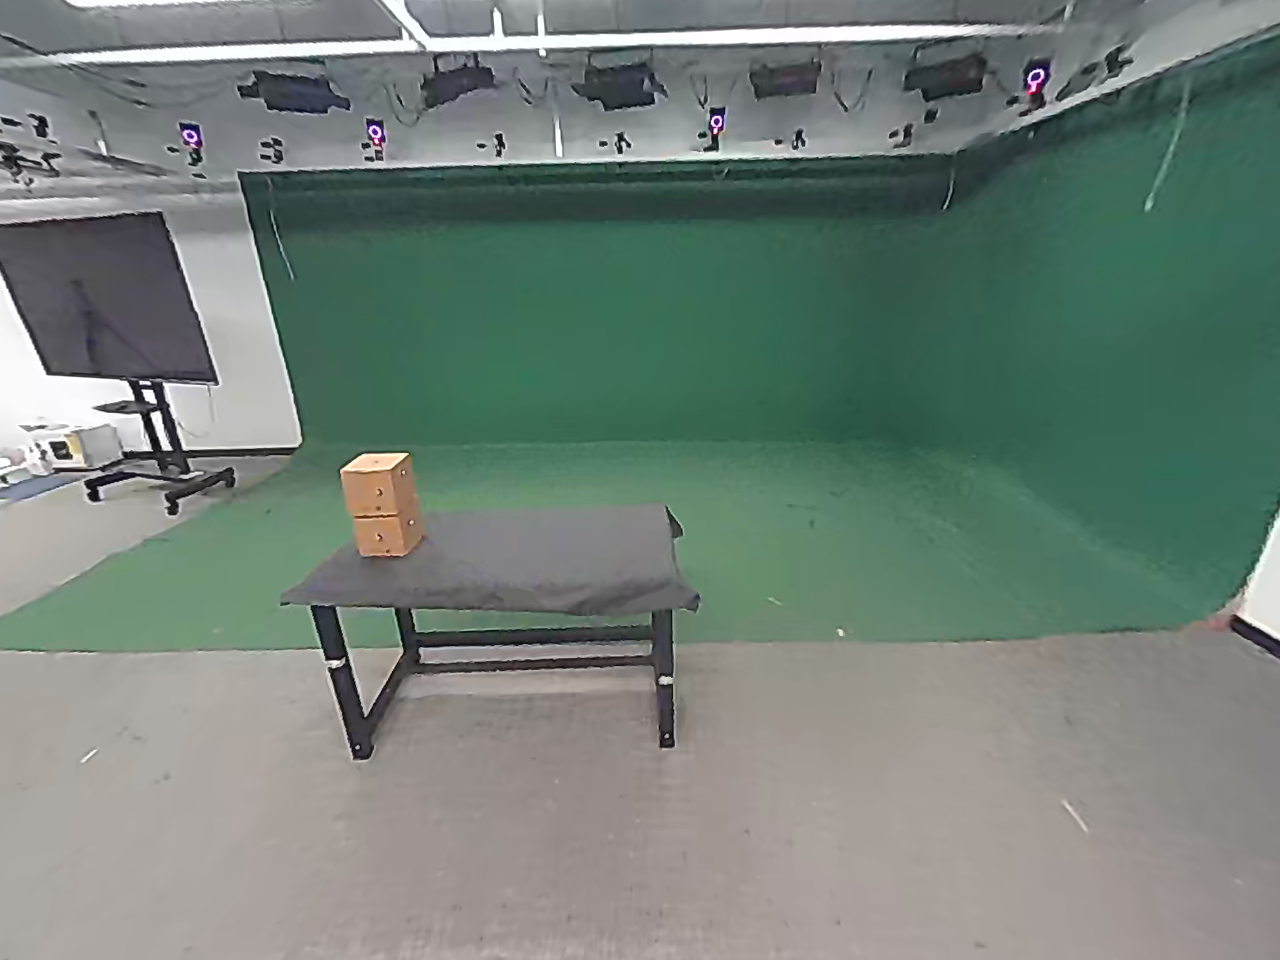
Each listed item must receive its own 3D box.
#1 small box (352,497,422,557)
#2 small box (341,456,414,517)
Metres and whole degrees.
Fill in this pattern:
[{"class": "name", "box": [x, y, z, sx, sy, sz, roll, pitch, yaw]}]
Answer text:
[{"class": "small box", "box": [-0.909, 0.171, 1.963, 0.168, 0.176, 0.179, 0, 21, 1]}, {"class": "small box", "box": [-0.910, 0.023, 1.894, 0.168, 0.176, 0.179, 0, 20, -1]}]
